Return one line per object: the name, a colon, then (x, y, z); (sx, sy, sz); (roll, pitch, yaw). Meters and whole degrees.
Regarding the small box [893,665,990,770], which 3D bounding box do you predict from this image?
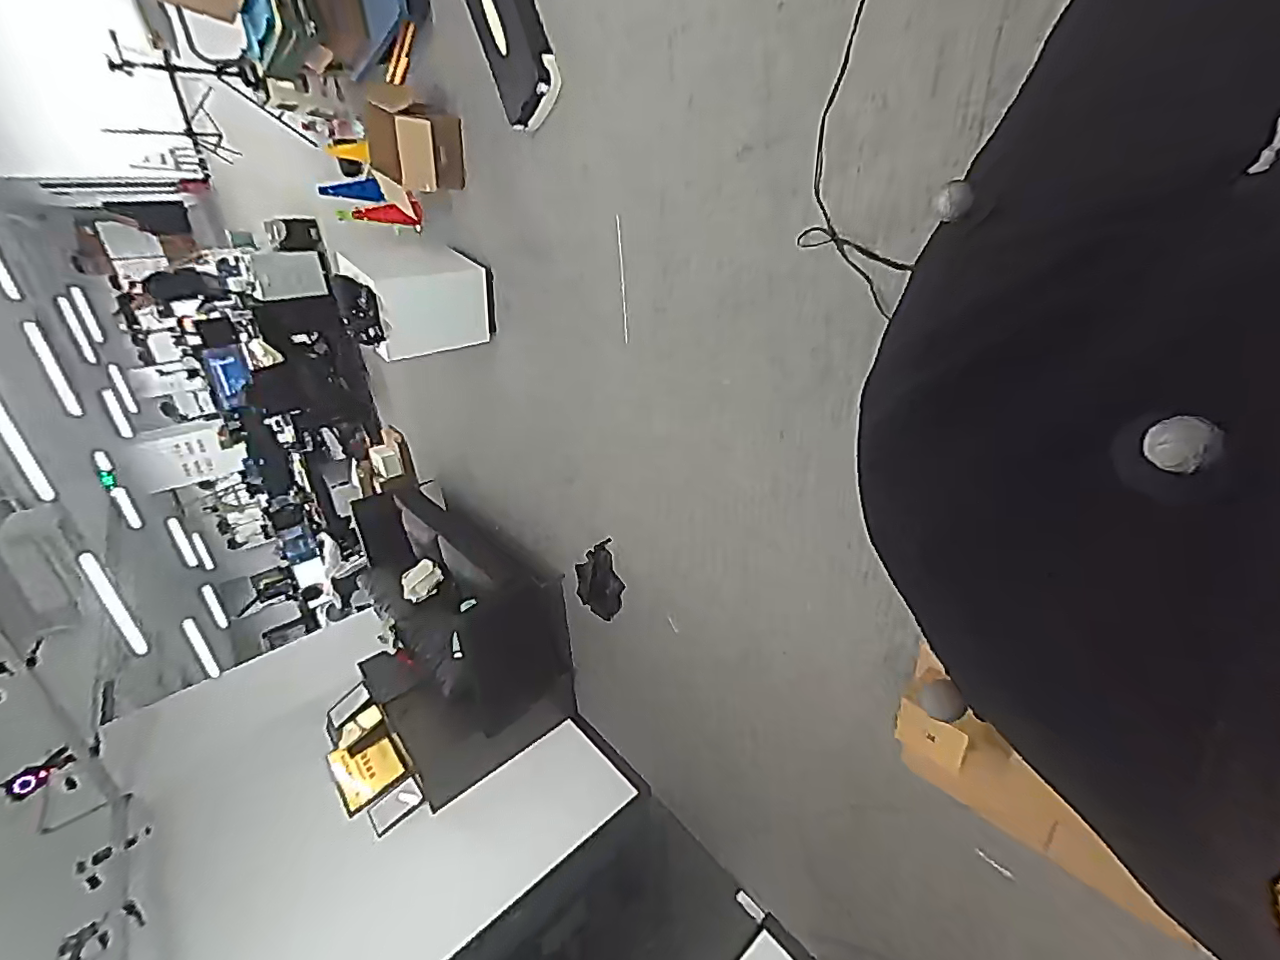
small box: (0.844, 0.652, 1.513); (0.179, 0.176, 0.168); (25, 128, 45)
